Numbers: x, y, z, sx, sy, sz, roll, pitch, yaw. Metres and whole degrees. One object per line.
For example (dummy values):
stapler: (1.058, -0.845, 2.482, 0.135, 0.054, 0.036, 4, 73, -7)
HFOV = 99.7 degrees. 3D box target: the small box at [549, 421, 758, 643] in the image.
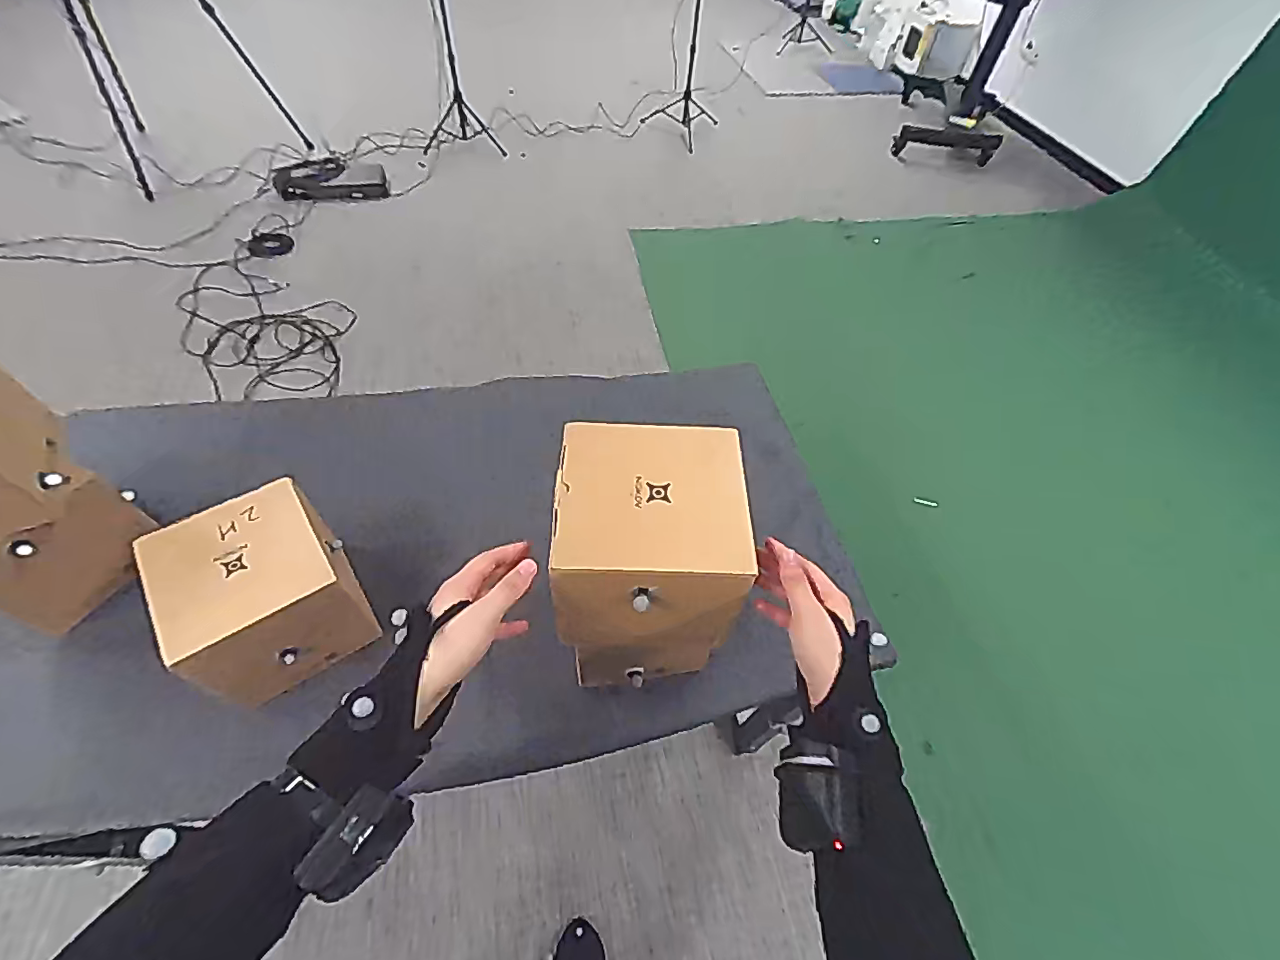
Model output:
small box: (0.009, 0.059, 0.555, 0.179, 0.176, 0.168, 2, 53, -2)

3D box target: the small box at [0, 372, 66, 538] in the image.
small box: (-0.753, -0.032, 0.555, 0.179, 0.176, 0.168, -24, 60, -19)

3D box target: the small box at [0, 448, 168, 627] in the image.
small box: (-0.766, 0.061, 0.692, 0.179, 0.176, 0.168, 26, 57, 13)

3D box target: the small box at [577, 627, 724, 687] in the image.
small box: (-0.003, 0.143, 0.694, 0.168, 0.176, 0.179, -7, 55, -8)

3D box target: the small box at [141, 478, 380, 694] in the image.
small box: (-0.448, 0.137, 0.662, 0.168, 0.176, 0.179, -29, 61, -24)
